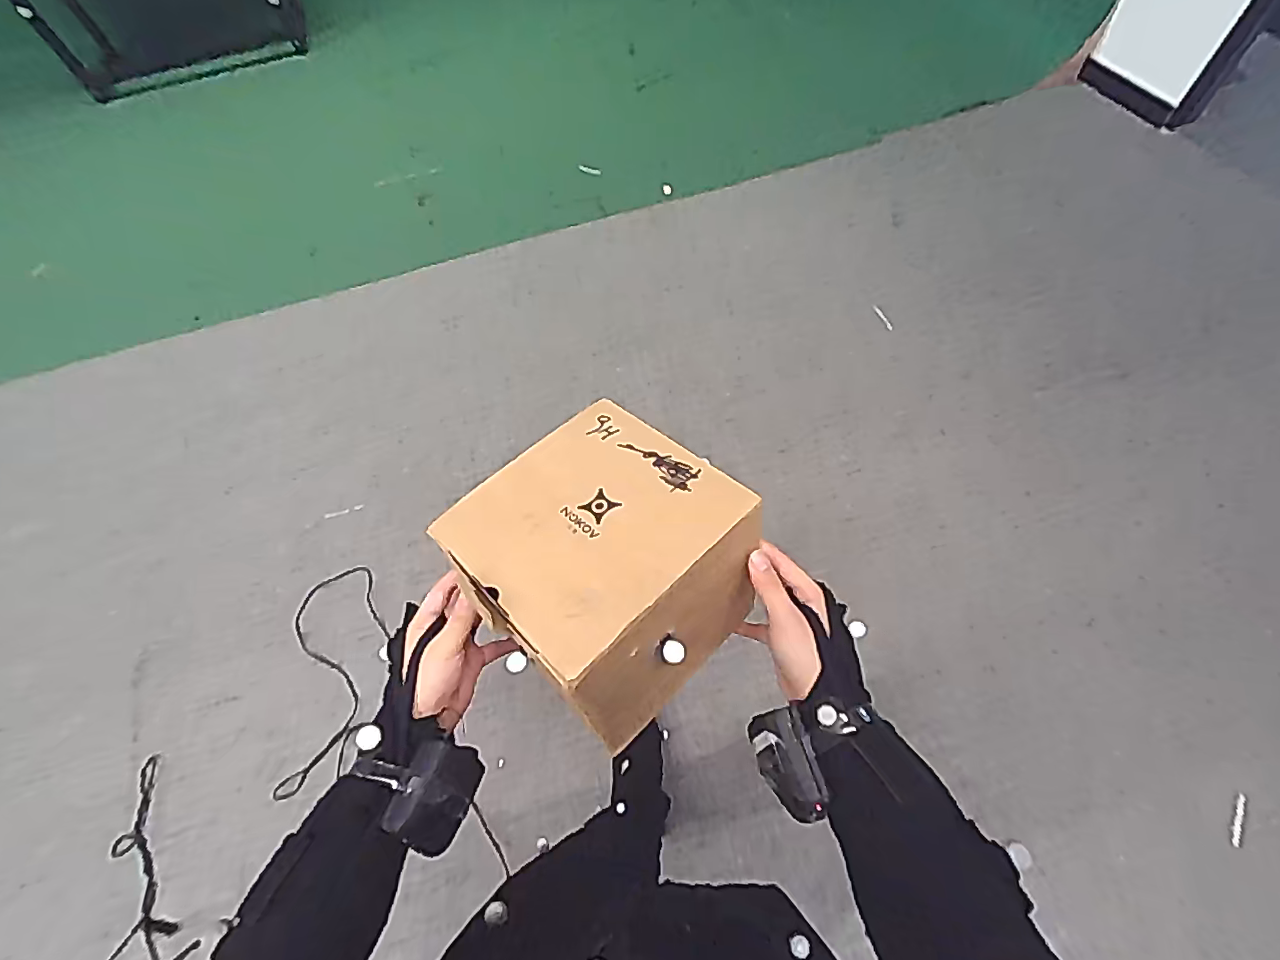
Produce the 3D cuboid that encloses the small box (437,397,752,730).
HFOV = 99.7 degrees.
[{"bbox_3d":[-0.024,0.071,0.447,0.179,0.176,0.168,-41,57,-21],"label":"small box"}]
